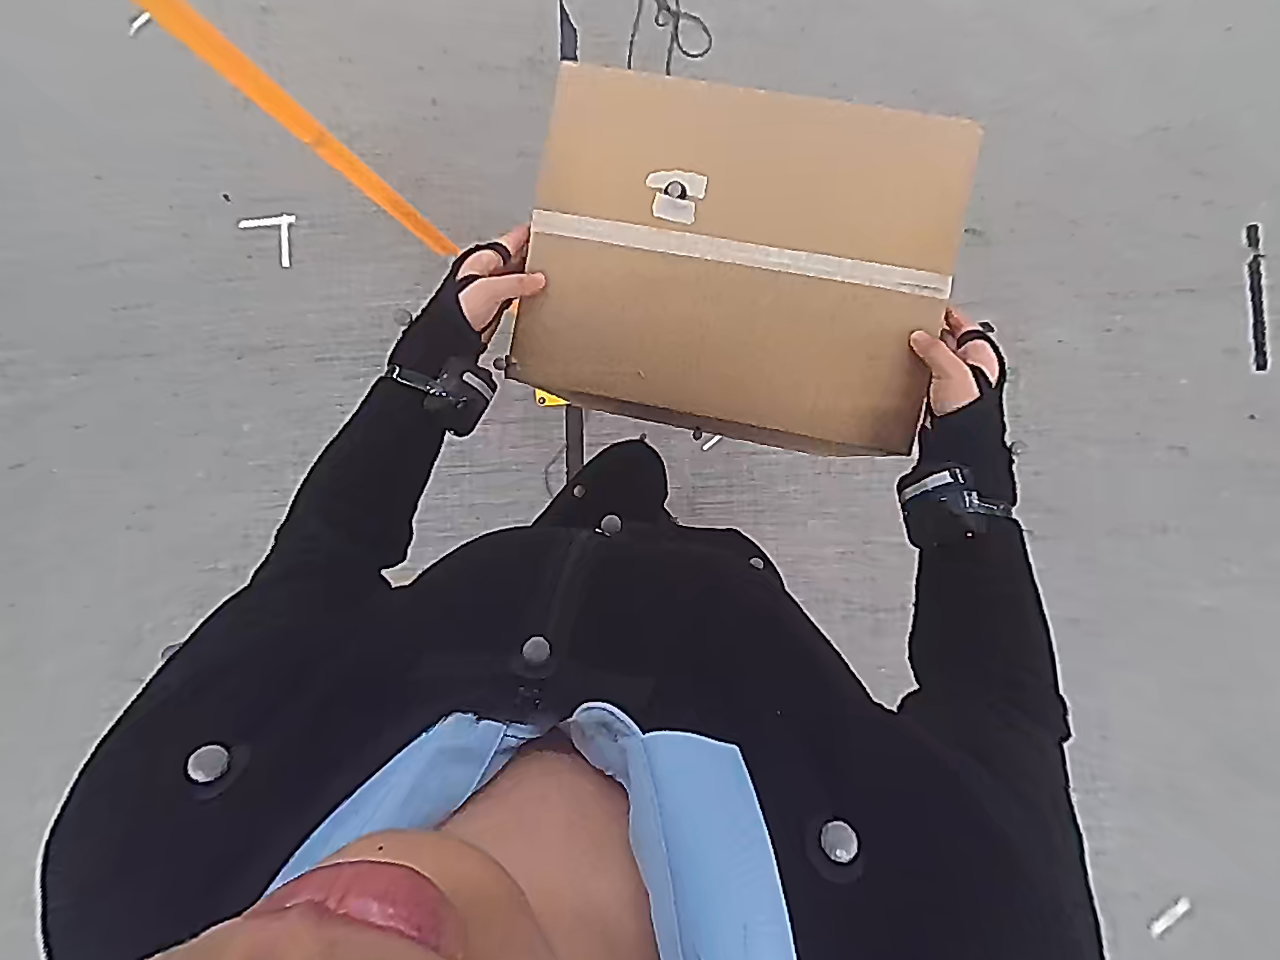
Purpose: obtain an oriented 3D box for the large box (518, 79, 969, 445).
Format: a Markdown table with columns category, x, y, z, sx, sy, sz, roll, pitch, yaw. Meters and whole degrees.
| category | x | y | z | sx | sy | sz | roll | pitch | yaw |
| --- | --- | --- | --- | --- | --- | --- | --- | --- | --- |
| large box | 0.109 | -0.227 | 0.683 | 0.408 | 0.320 | 0.320 | 11 | 92 | 5 |
